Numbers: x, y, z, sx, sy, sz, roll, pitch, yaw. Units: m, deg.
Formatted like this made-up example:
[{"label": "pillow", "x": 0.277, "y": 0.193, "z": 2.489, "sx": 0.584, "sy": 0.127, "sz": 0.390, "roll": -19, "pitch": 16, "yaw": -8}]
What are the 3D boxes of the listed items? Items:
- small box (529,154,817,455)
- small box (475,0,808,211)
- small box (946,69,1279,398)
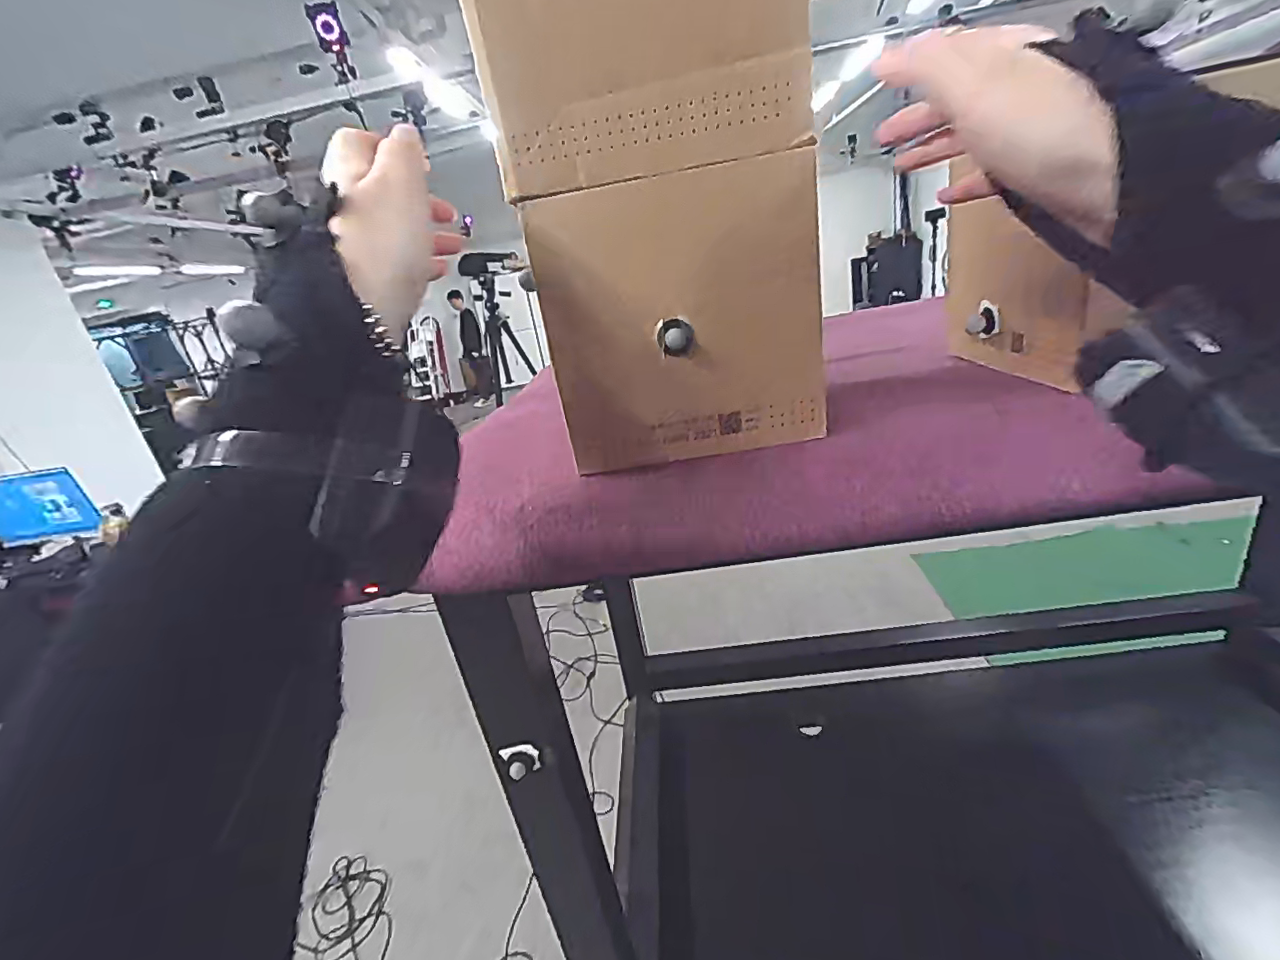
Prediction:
[{"label": "small box", "x": 0.029, "y": -0.123, "z": 0.411, "sx": 0.168, "sy": 0.176, "sz": 0.179, "roll": -7, "pitch": 21, "yaw": 4}, {"label": "small box", "x": -0.002, "y": -0.271, "z": 0.352, "sx": 0.179, "sy": 0.176, "sz": 0.168, "roll": -8, "pitch": 21, "yaw": 2}, {"label": "small box", "x": 0.347, "y": -0.168, "z": 0.391, "sx": 0.179, "sy": 0.176, "sz": 0.168, "roll": -9, "pitch": 20, "yaw": 4}]
